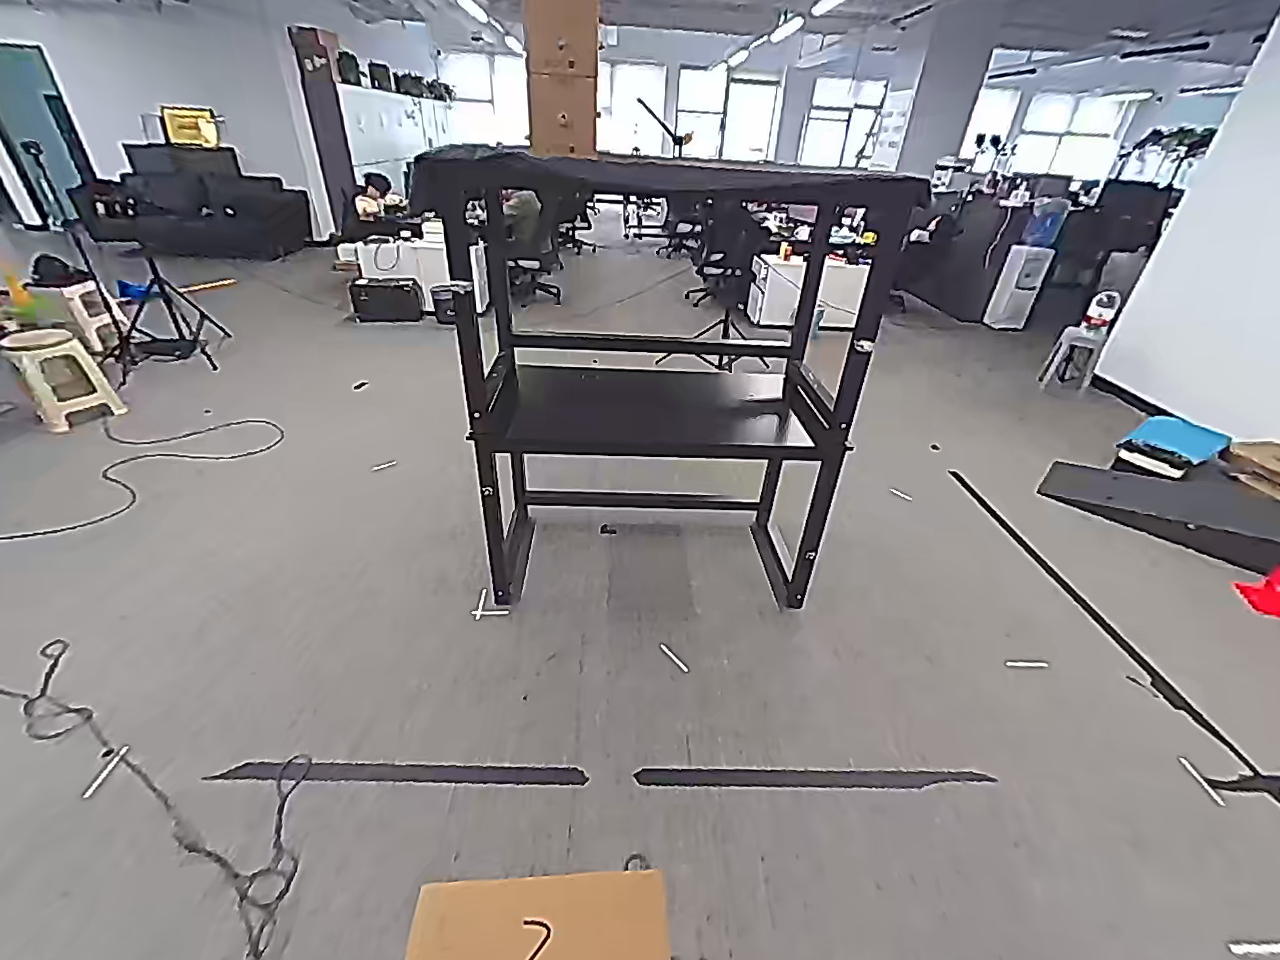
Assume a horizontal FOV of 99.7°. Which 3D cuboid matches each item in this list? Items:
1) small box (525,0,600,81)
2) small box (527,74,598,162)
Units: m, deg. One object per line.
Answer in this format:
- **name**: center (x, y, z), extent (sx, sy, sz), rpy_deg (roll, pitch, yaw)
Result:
- **small box**: center (-0.178, -1.037, 1.263), extent (0.168, 0.176, 0.179), rpy_deg (-1, 31, -6)
- **small box**: center (-0.188, -0.895, 1.347), extent (0.168, 0.176, 0.179), rpy_deg (0, 32, -7)
